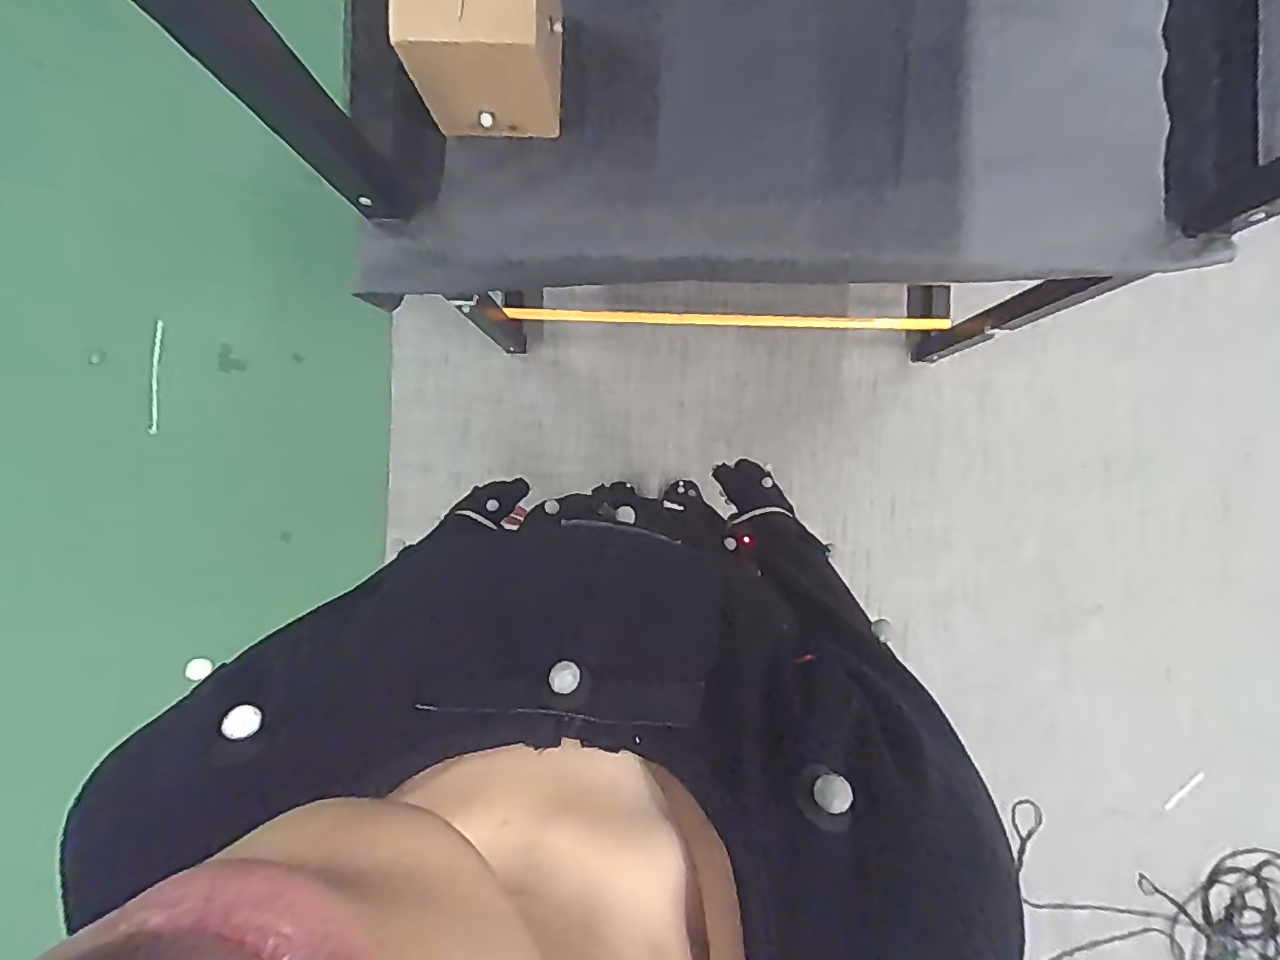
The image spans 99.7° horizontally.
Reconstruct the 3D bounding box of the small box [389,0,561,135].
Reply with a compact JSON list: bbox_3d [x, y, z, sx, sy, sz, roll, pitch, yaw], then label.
[{"bbox_3d":[-0.194,-0.574,0.678,0.168,0.176,0.179,1,90,0],"label":"small box"}]
